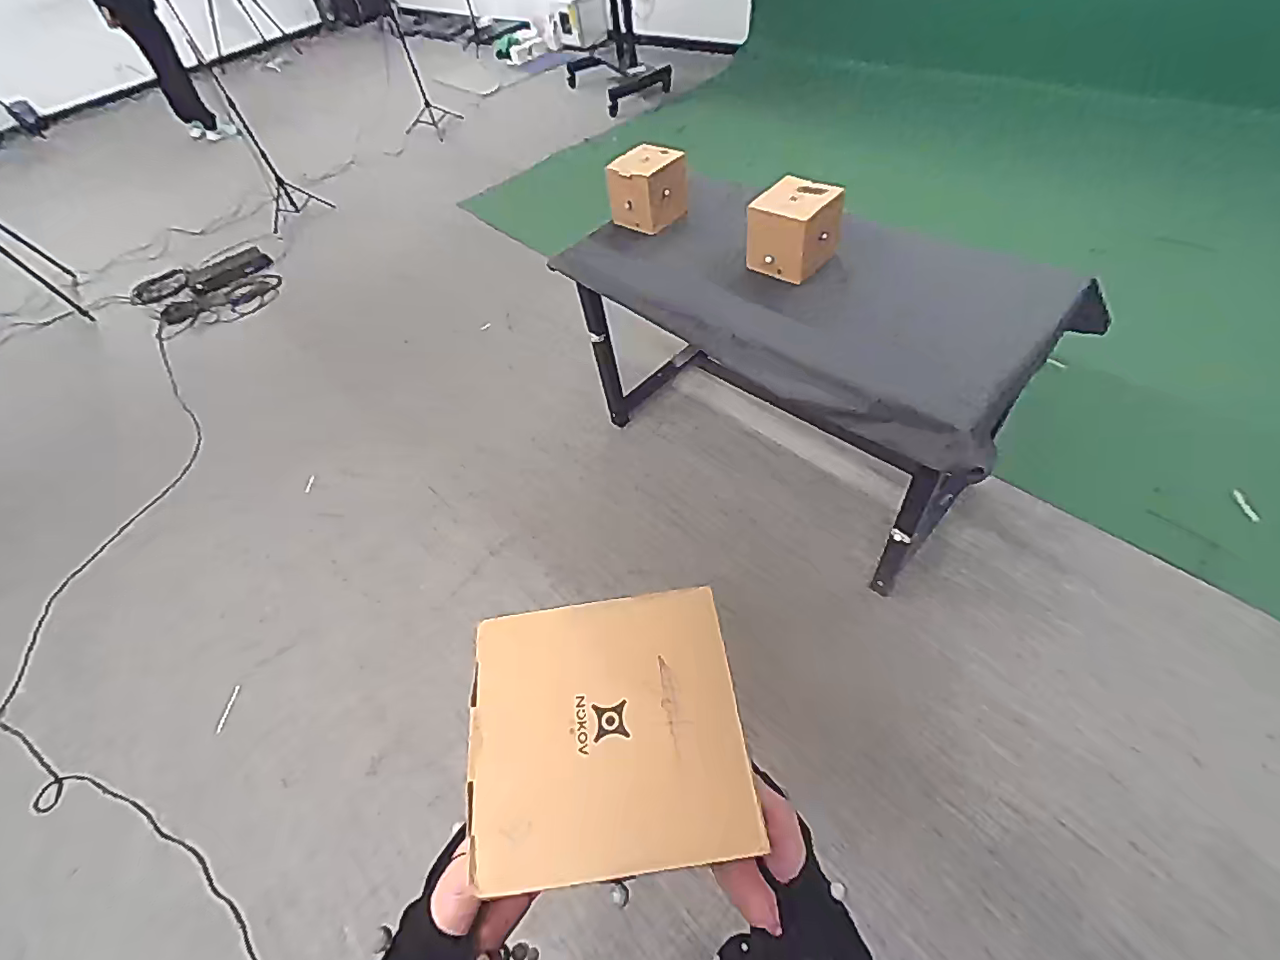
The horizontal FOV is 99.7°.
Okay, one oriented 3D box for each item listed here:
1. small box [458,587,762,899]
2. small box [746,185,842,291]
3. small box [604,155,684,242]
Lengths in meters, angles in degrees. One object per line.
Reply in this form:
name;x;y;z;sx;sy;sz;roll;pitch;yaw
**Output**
small box;-0.020;0.201;0.410;0.179;0.176;0.168;-9;55;-2
small box;0.384;-0.615;1.377;0.168;0.176;0.179;33;64;31
small box;0.021;-0.846;1.632;0.168;0.176;0.179;31;63;29
